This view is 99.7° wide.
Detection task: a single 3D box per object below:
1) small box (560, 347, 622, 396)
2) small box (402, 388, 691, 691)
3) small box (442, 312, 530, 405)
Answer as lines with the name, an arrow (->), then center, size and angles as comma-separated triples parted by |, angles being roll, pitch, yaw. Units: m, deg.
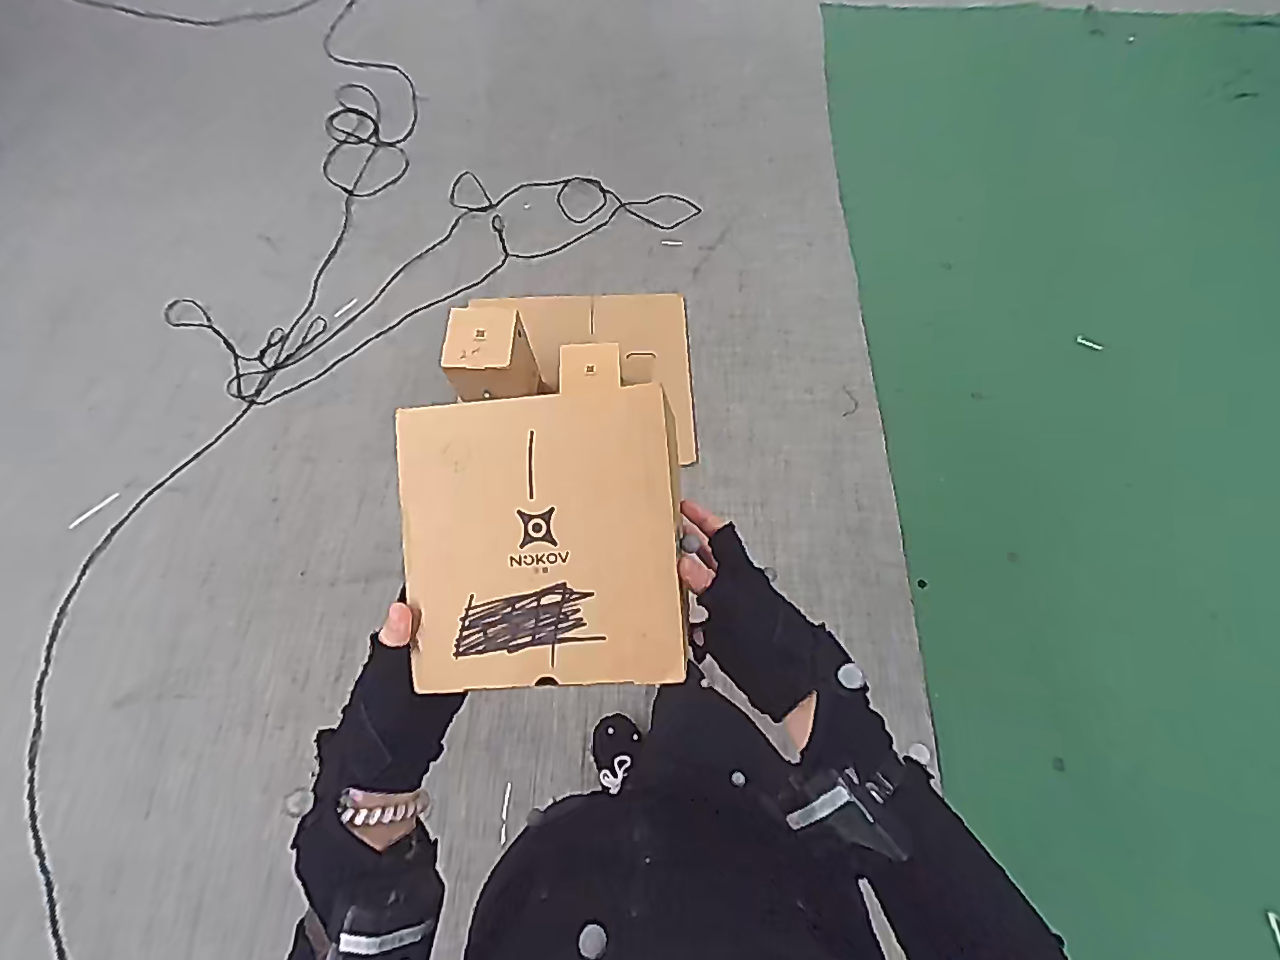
small box -> -0.134, -0.254, 1.532 | 0.168, 0.176, 0.179 | -3, 69, -1
small box -> -0.051, 0.037, 0.402 | 0.168, 0.176, 0.179 | -5, 89, 5
small box -> -0.381, -0.302, 1.372 | 0.168, 0.176, 0.179 | 1, 68, 2
